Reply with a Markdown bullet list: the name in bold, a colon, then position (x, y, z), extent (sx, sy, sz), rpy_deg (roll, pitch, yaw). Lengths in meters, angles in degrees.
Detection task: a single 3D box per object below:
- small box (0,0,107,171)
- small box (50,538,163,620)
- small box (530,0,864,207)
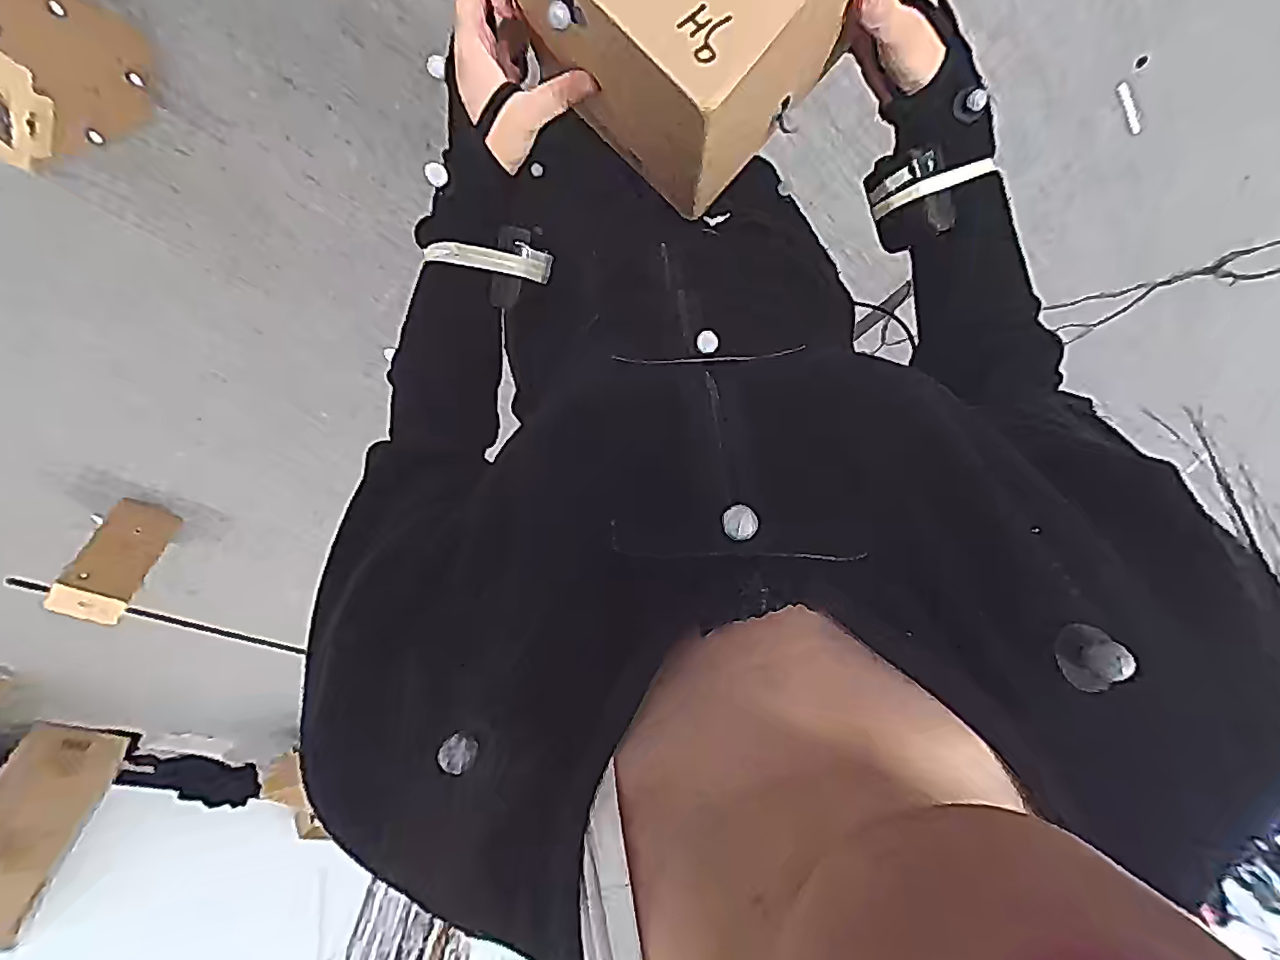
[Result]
- **small box**: position (-0.971, -0.623, 0.824), extent (0.179, 0.176, 0.168), rpy_deg (26, 126, -29)
- **small box**: position (-1.641, 0.301, 1.670), extent (0.168, 0.176, 0.179), rpy_deg (-37, 129, 28)
- **small box**: position (0.039, -0.315, 0.332), extent (0.168, 0.176, 0.179), rpy_deg (42, 97, -2)
